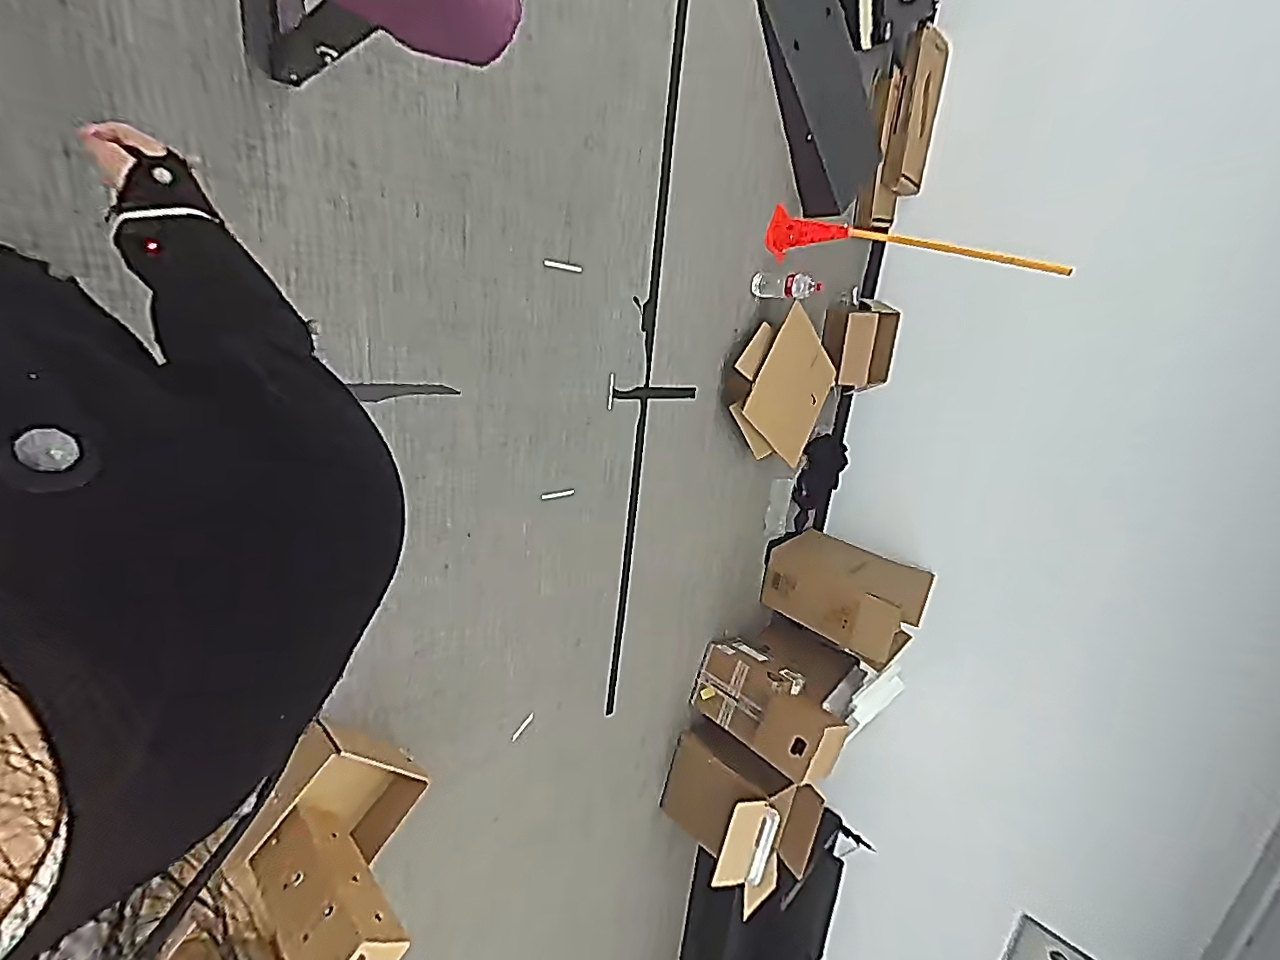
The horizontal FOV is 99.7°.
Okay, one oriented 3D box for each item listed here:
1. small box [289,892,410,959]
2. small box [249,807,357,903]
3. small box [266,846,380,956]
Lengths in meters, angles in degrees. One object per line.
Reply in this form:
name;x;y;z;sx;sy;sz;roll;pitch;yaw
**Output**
small box;-0.718;1.160;1.334;0.168;0.176;0.179;-53;139;-20
small box;-0.958;1.068;1.536;0.168;0.176;0.179;-51;137;-22
small box;-0.841;1.114;1.434;0.168;0.176;0.179;-52;137;-21
